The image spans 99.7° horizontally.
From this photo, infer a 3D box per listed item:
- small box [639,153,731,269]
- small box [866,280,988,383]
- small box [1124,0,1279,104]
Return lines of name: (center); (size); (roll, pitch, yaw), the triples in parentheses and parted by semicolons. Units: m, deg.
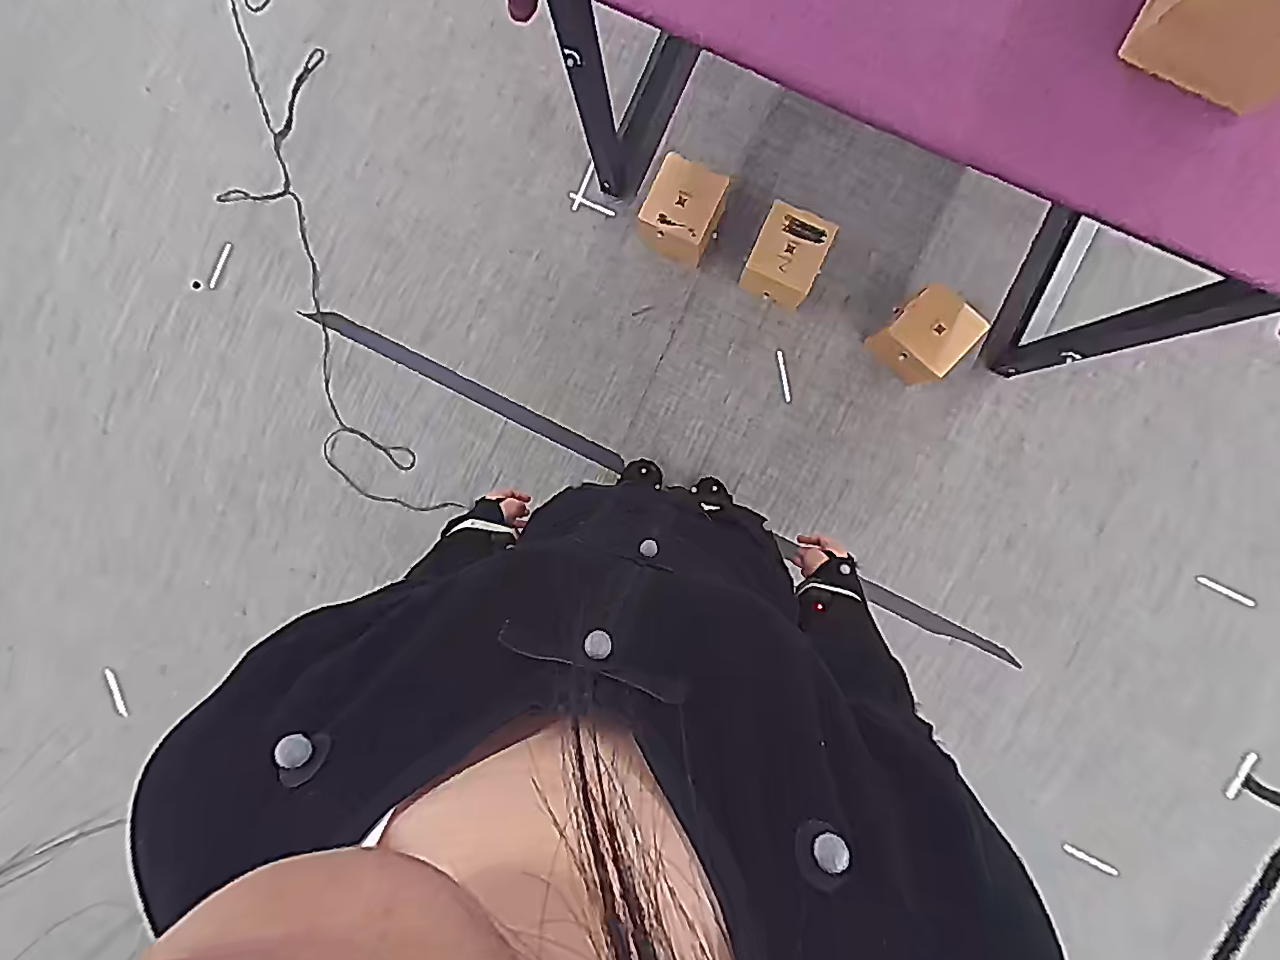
small box: (0.110, -0.673, 1.374); (0.168, 0.176, 0.179); (28, 93, 2)
small box: (0.705, -0.358, 1.349); (0.179, 0.176, 0.168); (43, 95, 2)
small box: (0.722, -0.571, 0.605); (0.179, 0.176, 0.168); (28, 93, 3)
